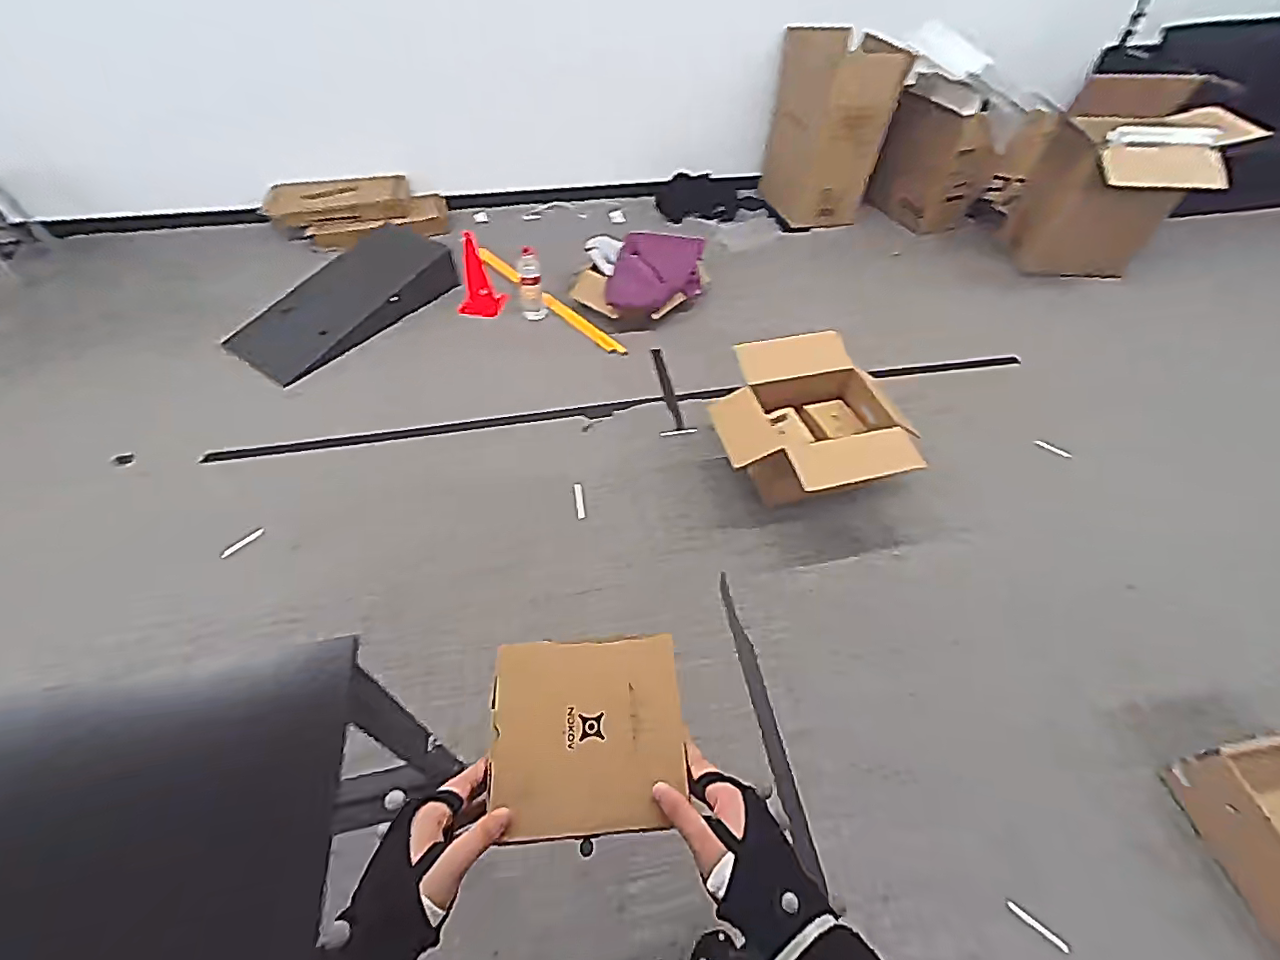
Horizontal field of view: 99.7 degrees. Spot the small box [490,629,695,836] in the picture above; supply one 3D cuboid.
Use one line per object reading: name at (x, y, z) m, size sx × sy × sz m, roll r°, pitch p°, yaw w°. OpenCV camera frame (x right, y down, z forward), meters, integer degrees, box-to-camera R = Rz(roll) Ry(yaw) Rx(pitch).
small box at (-0.048, 0.266, 0.563) m, size 0.179 × 0.176 × 0.168 m, roll -2°, pitch 57°, yaw -6°
